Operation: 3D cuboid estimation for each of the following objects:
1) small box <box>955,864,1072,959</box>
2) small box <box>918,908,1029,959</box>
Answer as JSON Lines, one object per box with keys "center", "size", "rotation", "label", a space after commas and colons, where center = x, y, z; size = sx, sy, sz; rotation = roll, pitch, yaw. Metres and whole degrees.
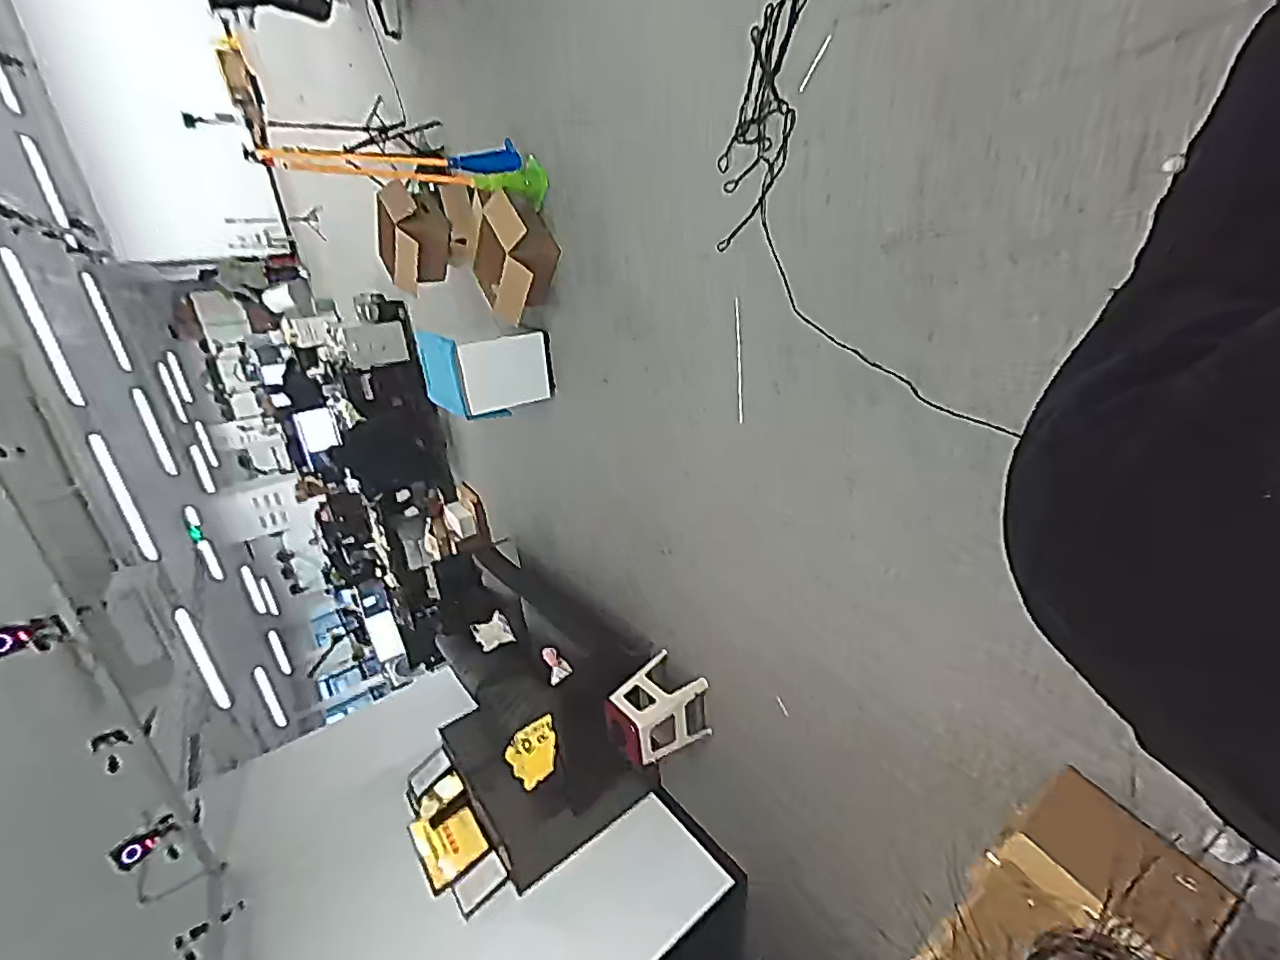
{"center": [0.936, 1.122, 1.362], "size": [0.168, 0.176, 0.179], "rotation": [42, 139, 37], "label": "small box"}
{"center": [0.801, 1.167, 1.283], "size": [0.179, 0.176, 0.168], "rotation": [42, 140, 35], "label": "small box"}
